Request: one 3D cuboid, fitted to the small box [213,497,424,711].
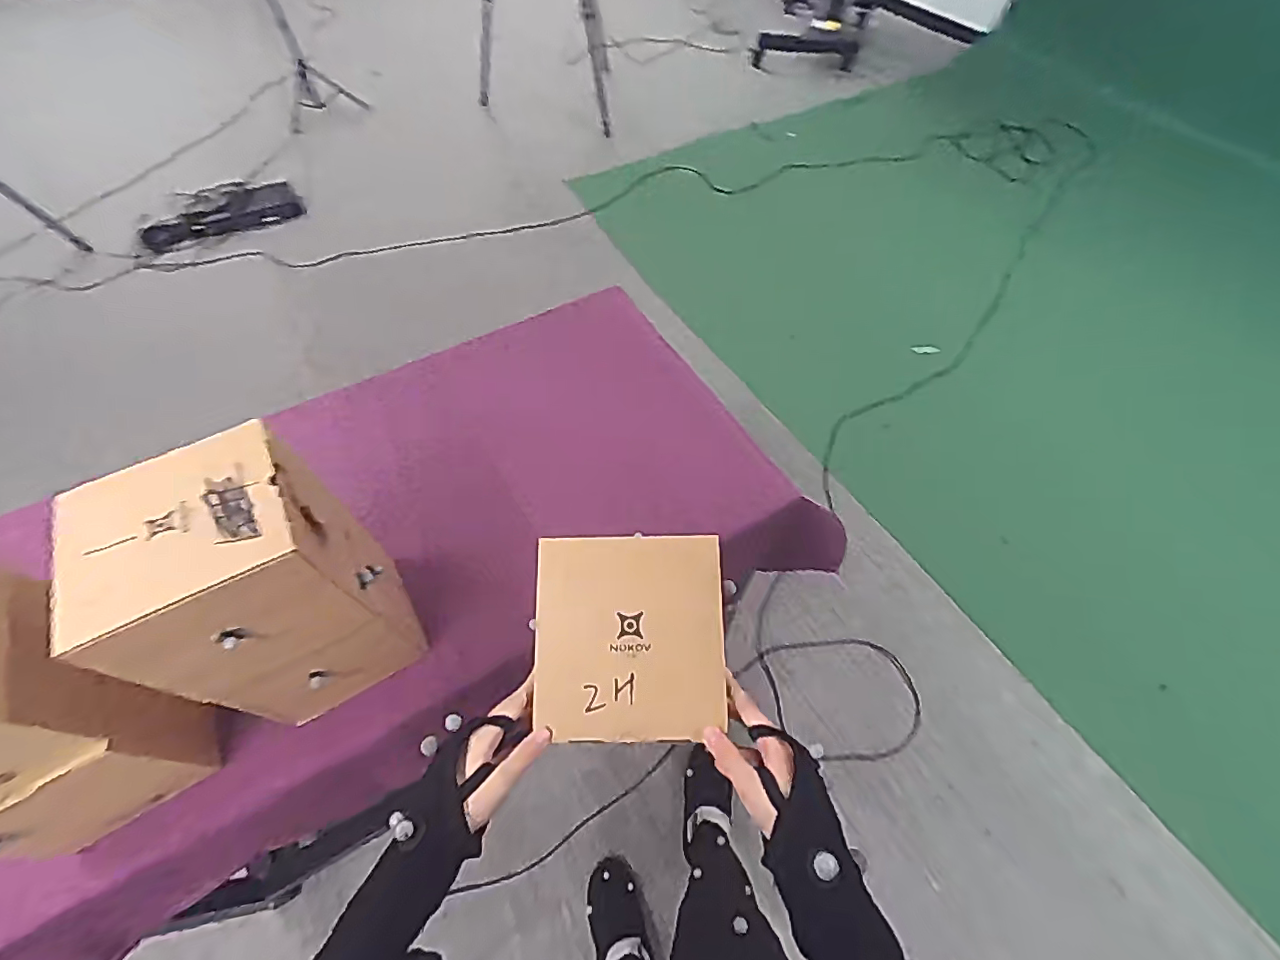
[{"bbox_3d":[-0.400,0.159,0.669,0.179,0.176,0.168,-27,61,-15],"label":"small box"}]

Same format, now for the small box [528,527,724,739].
[{"bbox_3d":[-0.007,0.149,0.546,0.168,0.176,0.179,0,76,3],"label":"small box"}]

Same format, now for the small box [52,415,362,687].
[{"bbox_3d":[-0.400,0.074,0.529,0.179,0.176,0.168,-26,60,-15],"label":"small box"}]

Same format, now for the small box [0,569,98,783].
[{"bbox_3d":[-0.629,0.180,0.467,0.168,0.176,0.179,-30,60,-17],"label":"small box"}]
